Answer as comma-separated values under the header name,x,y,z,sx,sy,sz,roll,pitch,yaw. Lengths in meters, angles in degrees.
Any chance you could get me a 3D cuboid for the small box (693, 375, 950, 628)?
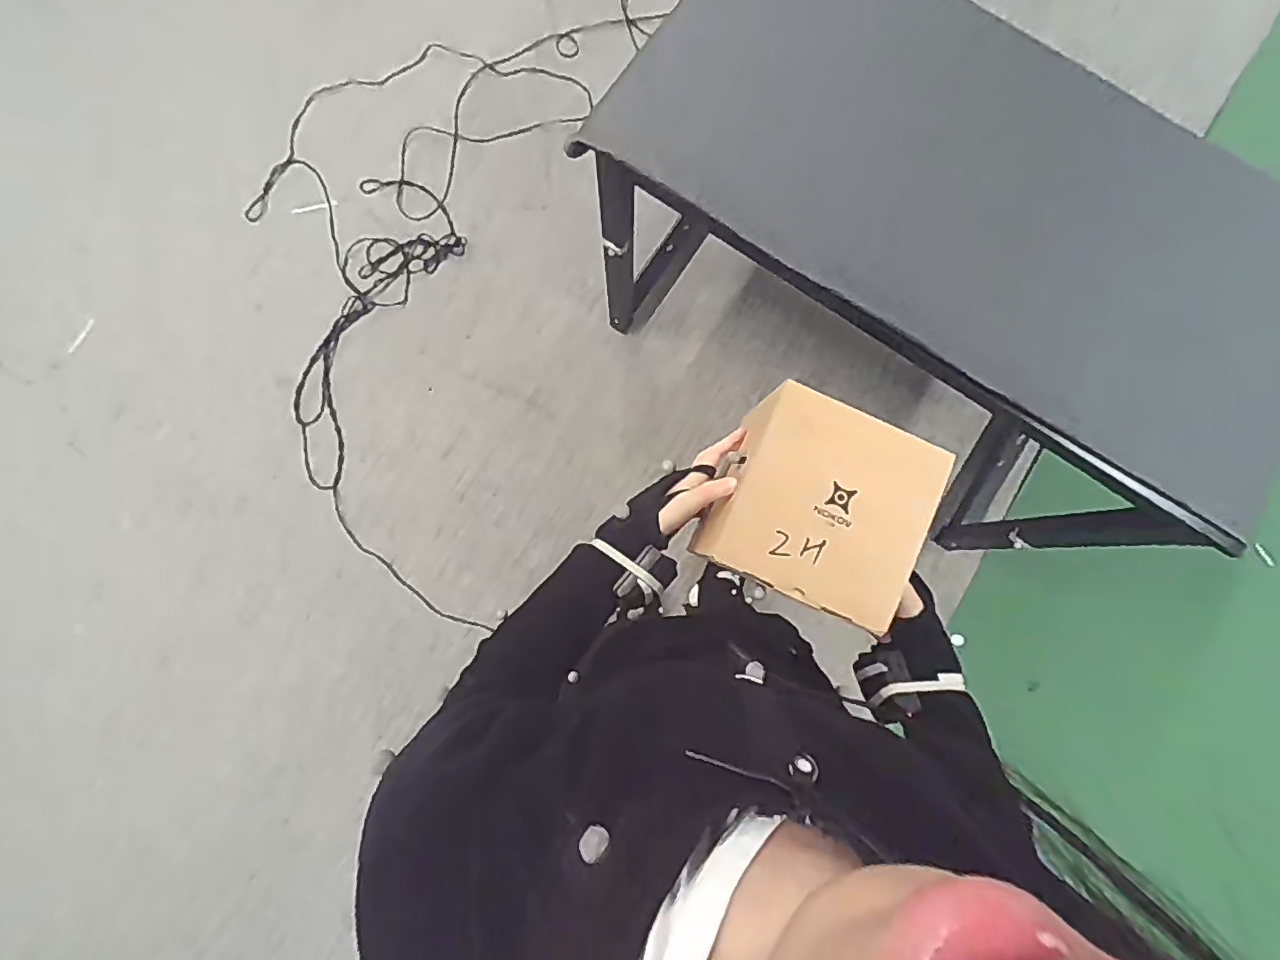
name,x,y,z,sx,sy,sz,roll,pitch,yaw
small box,0.166,0.024,0.553,0.168,0.176,0.179,25,84,0
